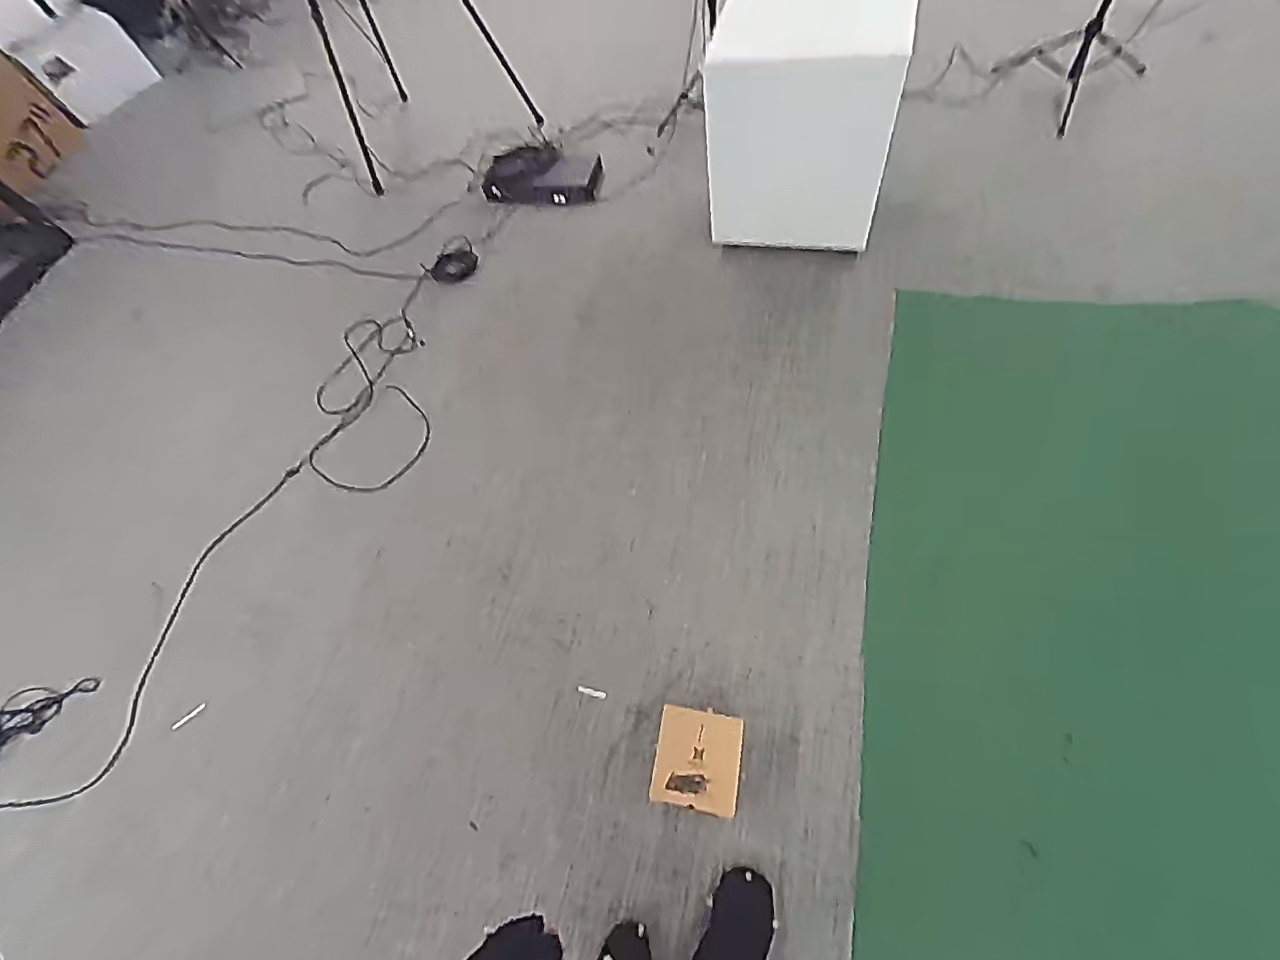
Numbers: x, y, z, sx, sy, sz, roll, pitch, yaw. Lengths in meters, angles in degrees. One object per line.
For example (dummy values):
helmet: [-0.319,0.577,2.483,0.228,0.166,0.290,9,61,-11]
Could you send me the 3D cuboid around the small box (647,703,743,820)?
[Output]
small box: [0.121,0.577,1.116,0.168,0.176,0.179,6,63,13]
